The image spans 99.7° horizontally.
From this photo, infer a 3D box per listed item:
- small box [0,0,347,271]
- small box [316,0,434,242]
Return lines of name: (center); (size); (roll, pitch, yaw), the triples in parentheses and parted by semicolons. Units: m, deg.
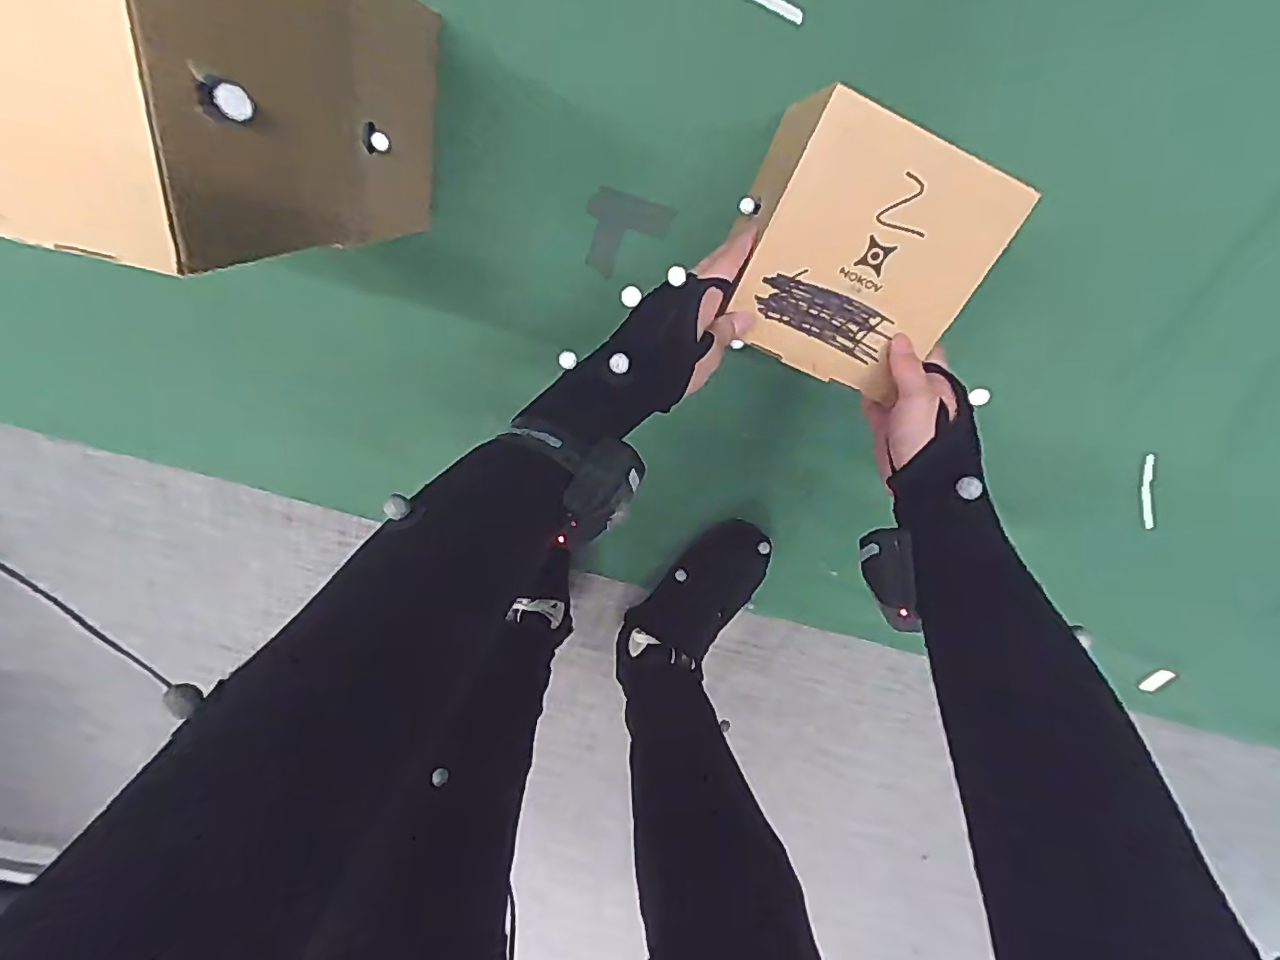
small box: (-0.278, -0.234, 0.285); (0.168, 0.176, 0.179); (13, 121, -5)
small box: (-0.276, -0.311, 0.428); (0.168, 0.176, 0.179); (14, 120, -6)
